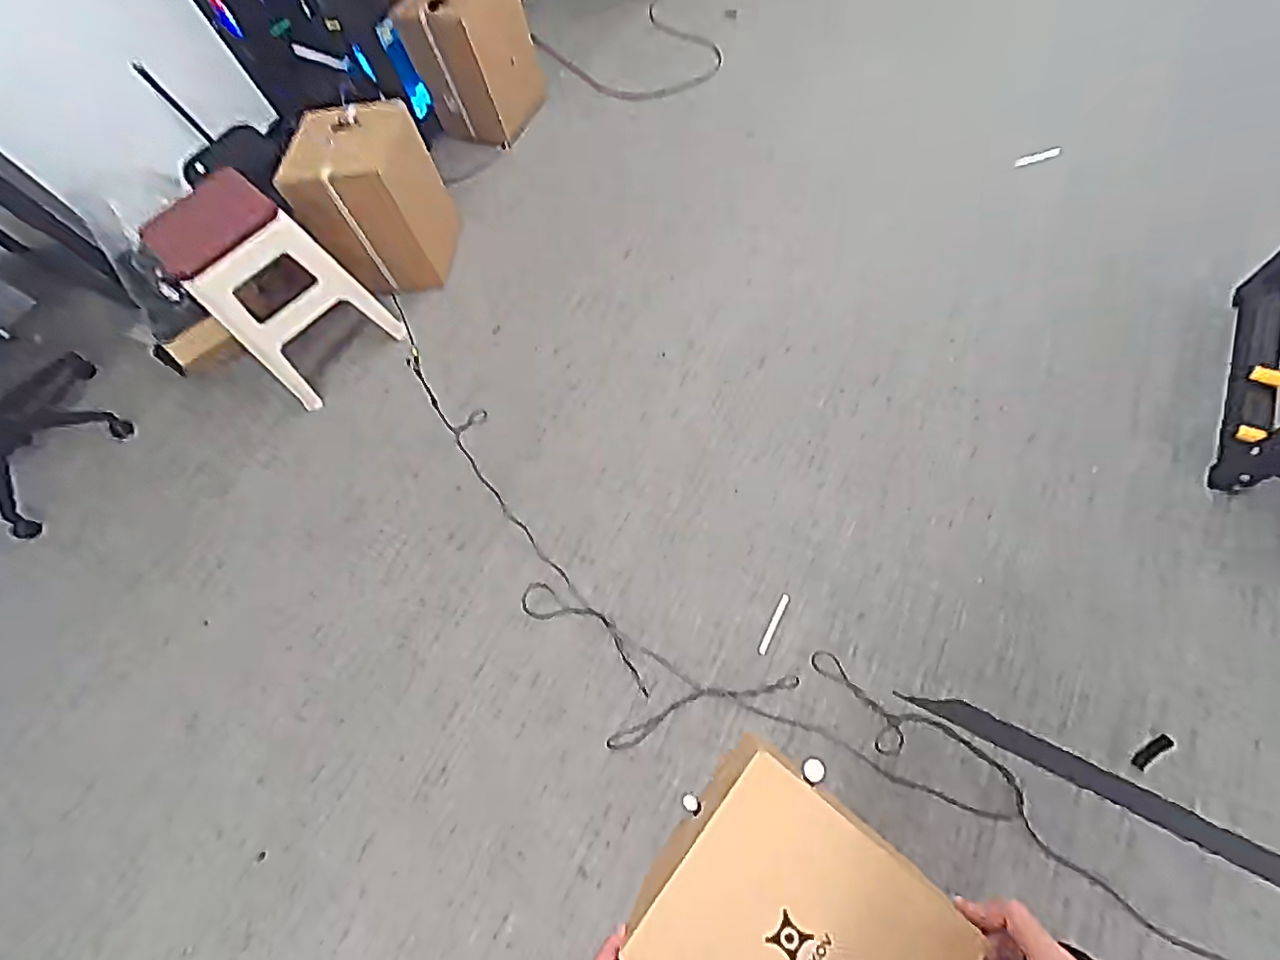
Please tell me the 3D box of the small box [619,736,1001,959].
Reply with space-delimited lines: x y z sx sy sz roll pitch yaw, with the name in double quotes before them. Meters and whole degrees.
"small box" 0.112 0.319 0.410 0.179 0.176 0.168 36 79 18
